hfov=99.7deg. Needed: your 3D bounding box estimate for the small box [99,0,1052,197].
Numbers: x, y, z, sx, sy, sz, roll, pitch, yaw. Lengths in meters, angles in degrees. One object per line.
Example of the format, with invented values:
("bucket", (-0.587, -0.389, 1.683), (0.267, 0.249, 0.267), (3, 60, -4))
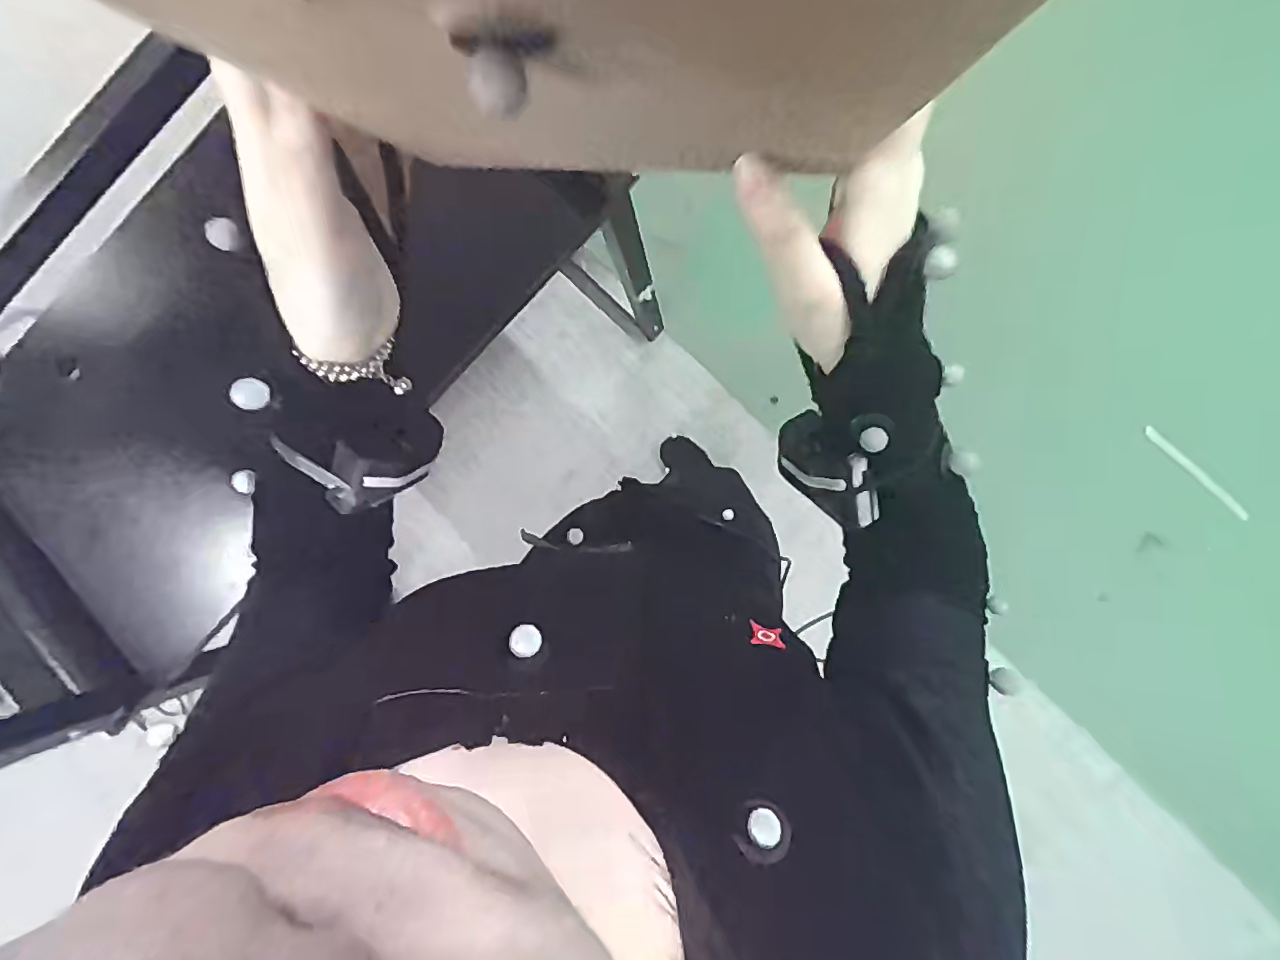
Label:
("small box", (-0.007, -0.169, 0.121), (0.179, 0.176, 0.168), (5, 109, 5))
